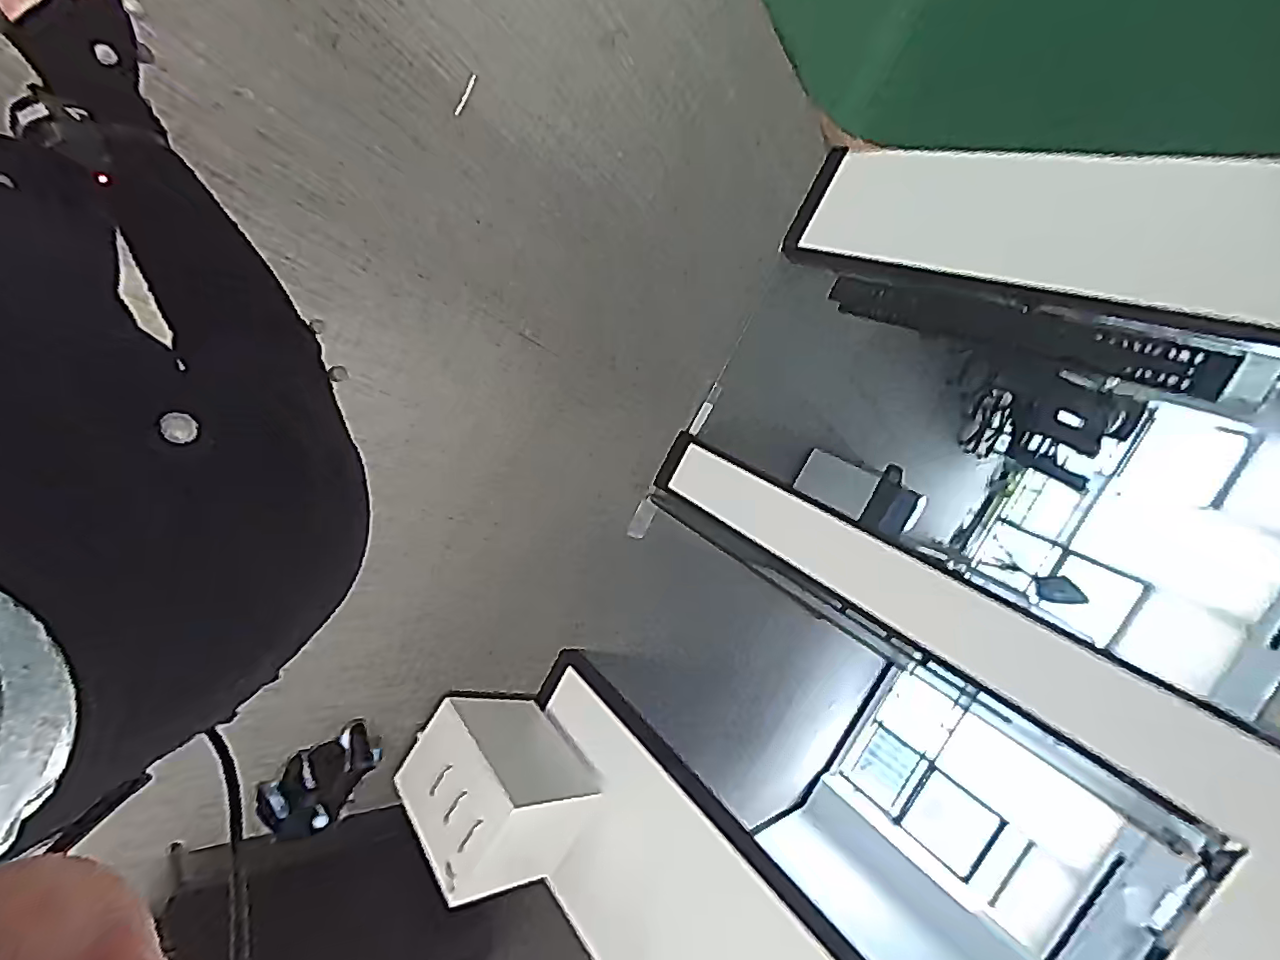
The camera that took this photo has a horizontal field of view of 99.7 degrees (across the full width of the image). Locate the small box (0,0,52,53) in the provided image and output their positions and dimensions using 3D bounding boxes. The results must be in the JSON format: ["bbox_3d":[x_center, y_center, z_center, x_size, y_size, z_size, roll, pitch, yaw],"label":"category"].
[{"bbox_3d":[-0.543,-0.458,0.386,0.168,0.176,0.179,4,102,-47],"label":"small box"}]
